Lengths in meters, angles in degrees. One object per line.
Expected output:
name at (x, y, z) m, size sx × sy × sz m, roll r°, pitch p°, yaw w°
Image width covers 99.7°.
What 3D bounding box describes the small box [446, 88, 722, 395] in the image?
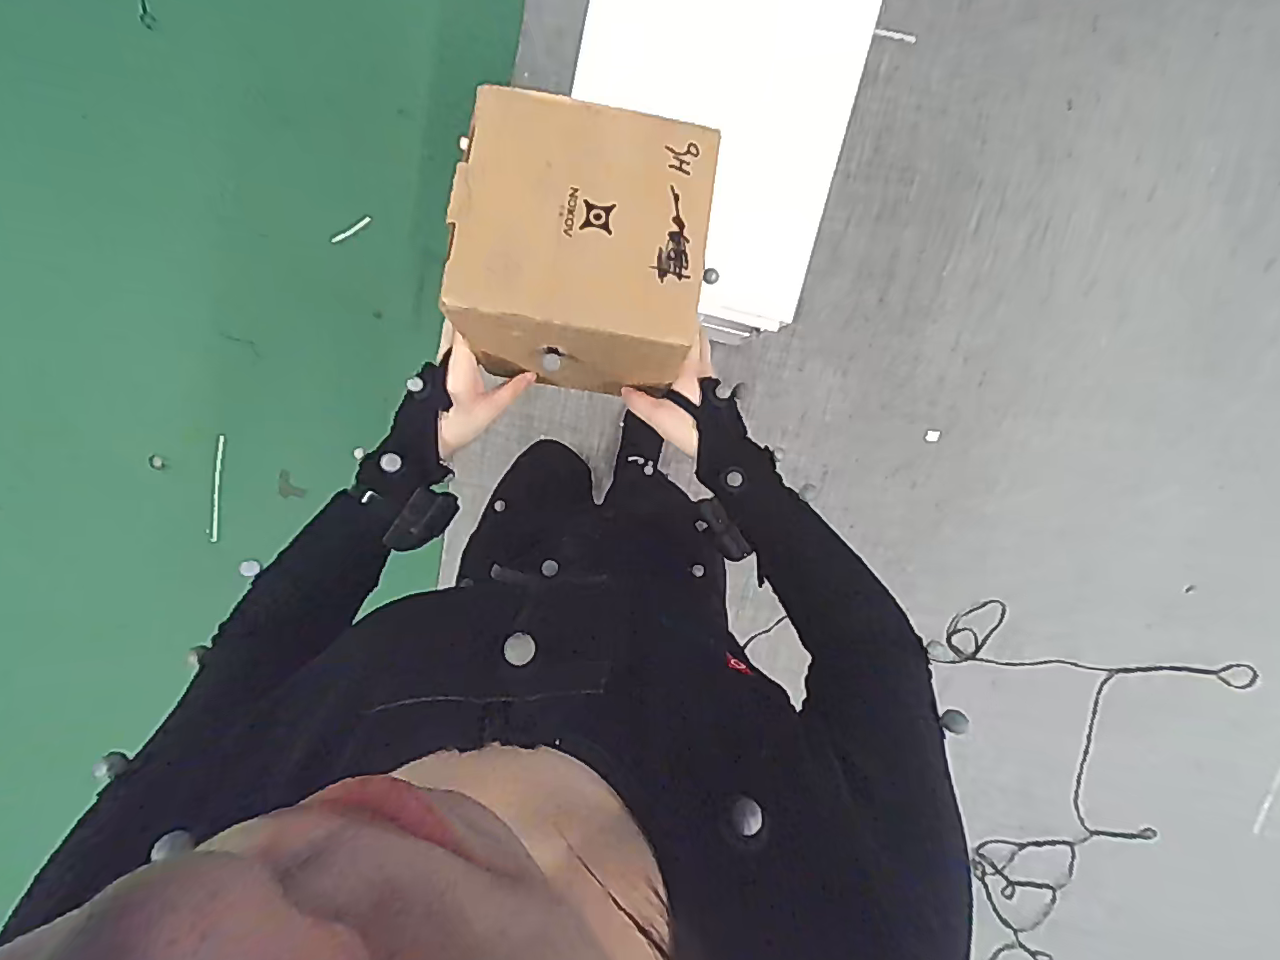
small box at (-0.042, -0.180, 0.460) m, size 0.179 × 0.176 × 0.168 m, roll 8°, pitch 84°, yaw -4°
